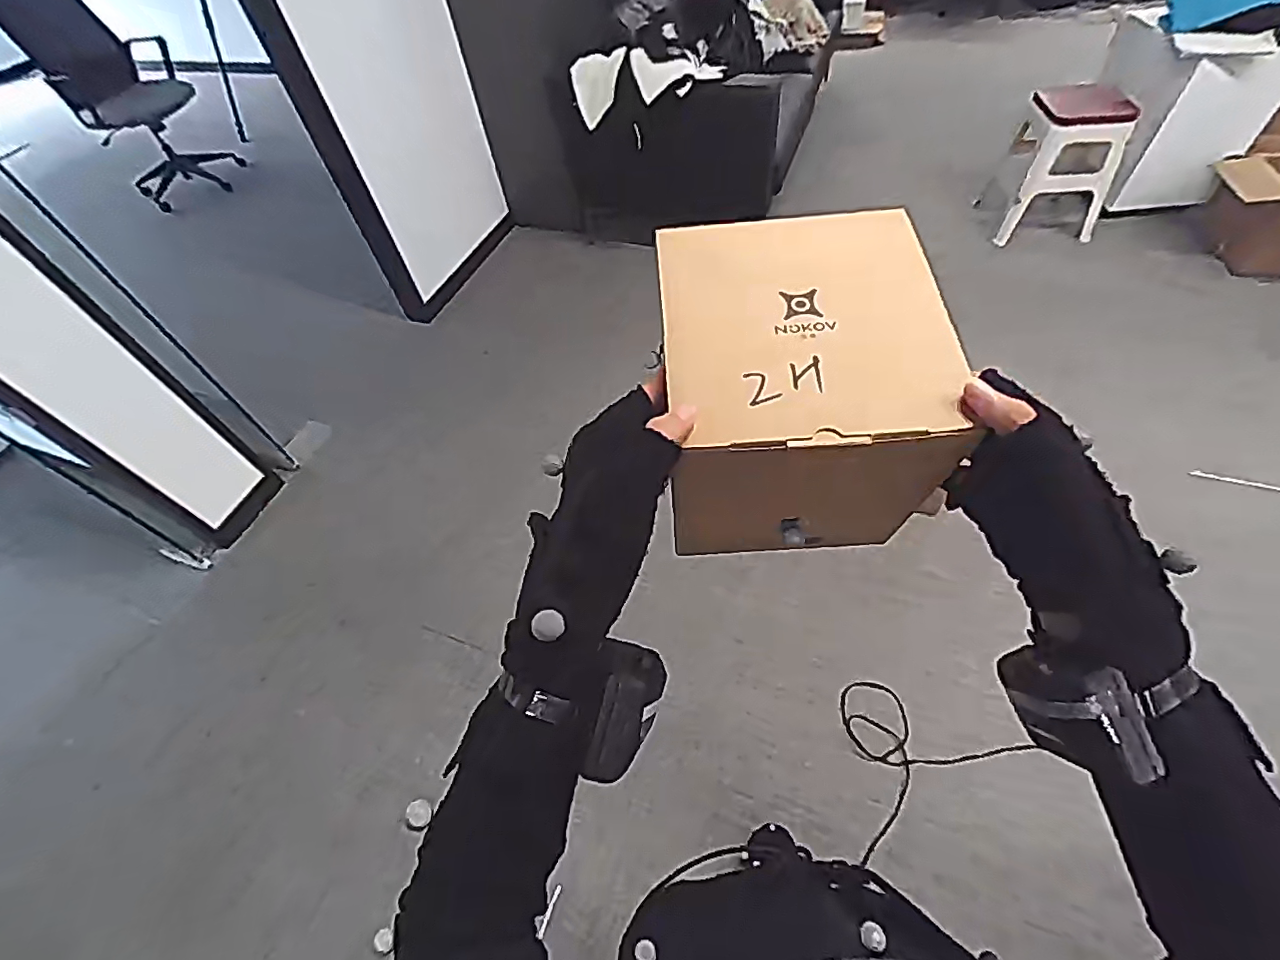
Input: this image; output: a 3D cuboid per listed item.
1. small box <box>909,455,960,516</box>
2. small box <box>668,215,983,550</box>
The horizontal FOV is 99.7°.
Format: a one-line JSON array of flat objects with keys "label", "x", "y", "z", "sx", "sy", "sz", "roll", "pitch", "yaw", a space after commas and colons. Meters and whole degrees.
[{"label": "small box", "x": 0.835, "y": -0.016, "z": 1.614, "sx": 0.168, "sy": 0.176, "sz": 0.179, "roll": 14, "pitch": 56, "yaw": 16}, {"label": "small box", "x": 0.104, "y": -0.061, "z": 0.398, "sx": 0.168, "sy": 0.176, "sz": 0.179, "roll": -3, "pitch": 62, "yaw": 4}]
